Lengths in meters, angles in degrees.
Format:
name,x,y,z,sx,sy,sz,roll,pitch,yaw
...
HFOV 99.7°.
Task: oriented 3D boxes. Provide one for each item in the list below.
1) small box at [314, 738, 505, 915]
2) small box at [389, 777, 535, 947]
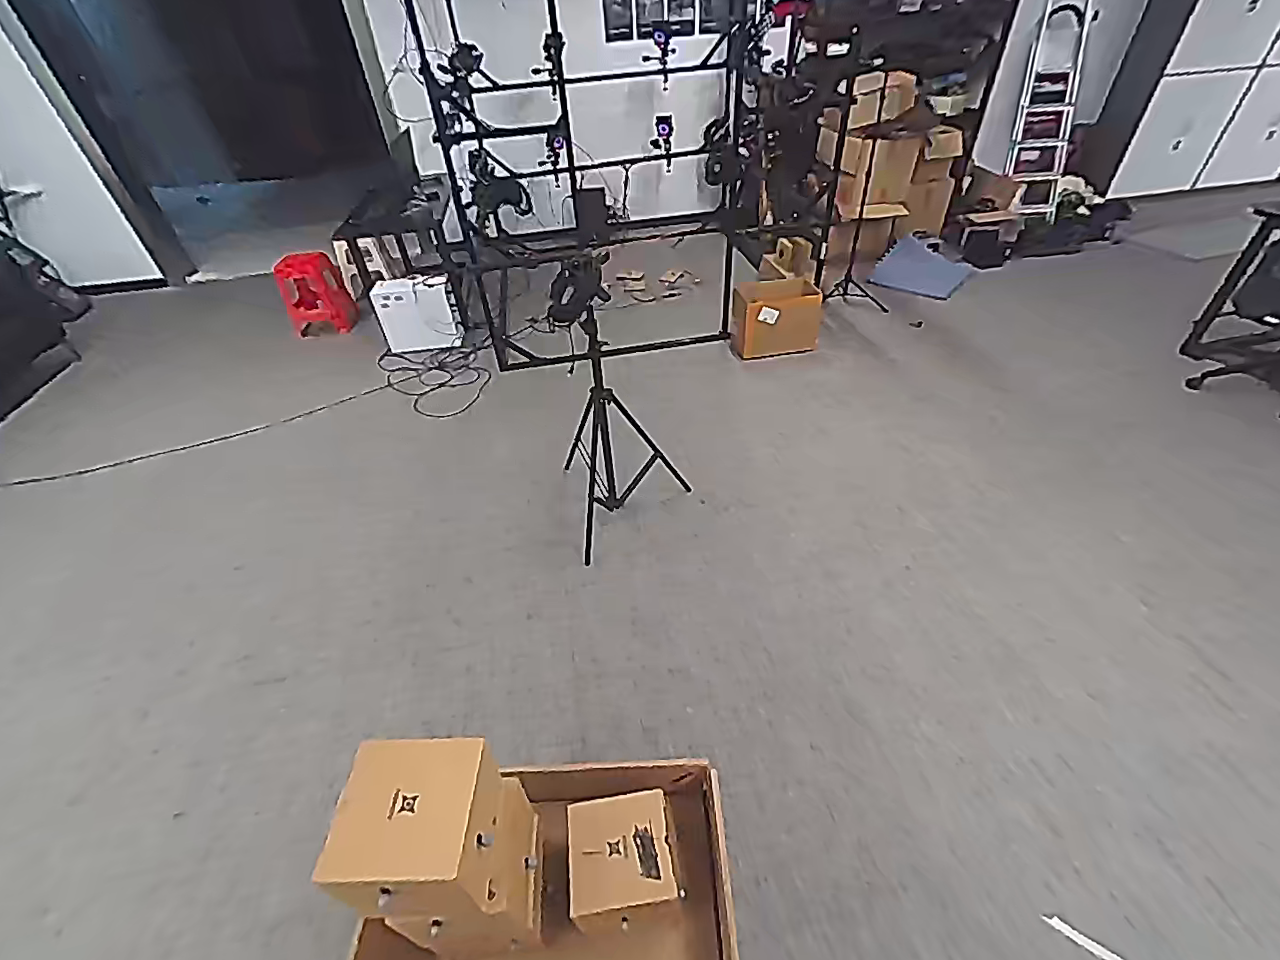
name,x,y,z,sx,sy,sz,roll,pitch,yaw
small box,-0.293,0.473,0.740,0.179,0.176,0.168,-2,41,1
small box,-0.263,0.595,0.846,0.168,0.176,0.179,-4,40,-2
